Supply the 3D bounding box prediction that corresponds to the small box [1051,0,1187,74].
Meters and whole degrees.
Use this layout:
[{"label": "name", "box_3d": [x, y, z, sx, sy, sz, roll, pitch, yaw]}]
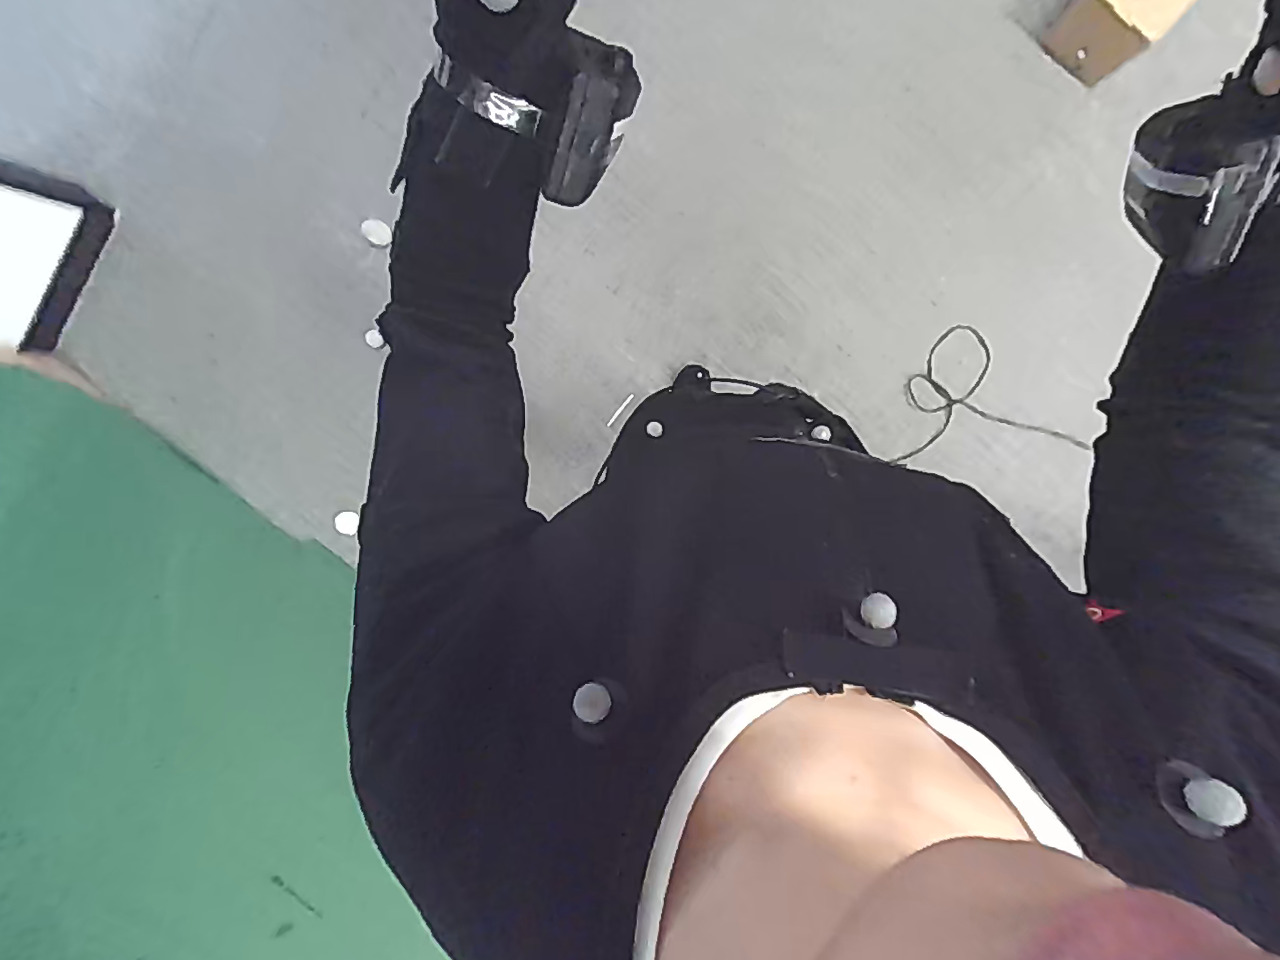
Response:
[{"label": "small box", "box_3d": [1.018, -1.010, 1.119, 0.168, 0.176, 0.179, 39, 102, -2]}]
